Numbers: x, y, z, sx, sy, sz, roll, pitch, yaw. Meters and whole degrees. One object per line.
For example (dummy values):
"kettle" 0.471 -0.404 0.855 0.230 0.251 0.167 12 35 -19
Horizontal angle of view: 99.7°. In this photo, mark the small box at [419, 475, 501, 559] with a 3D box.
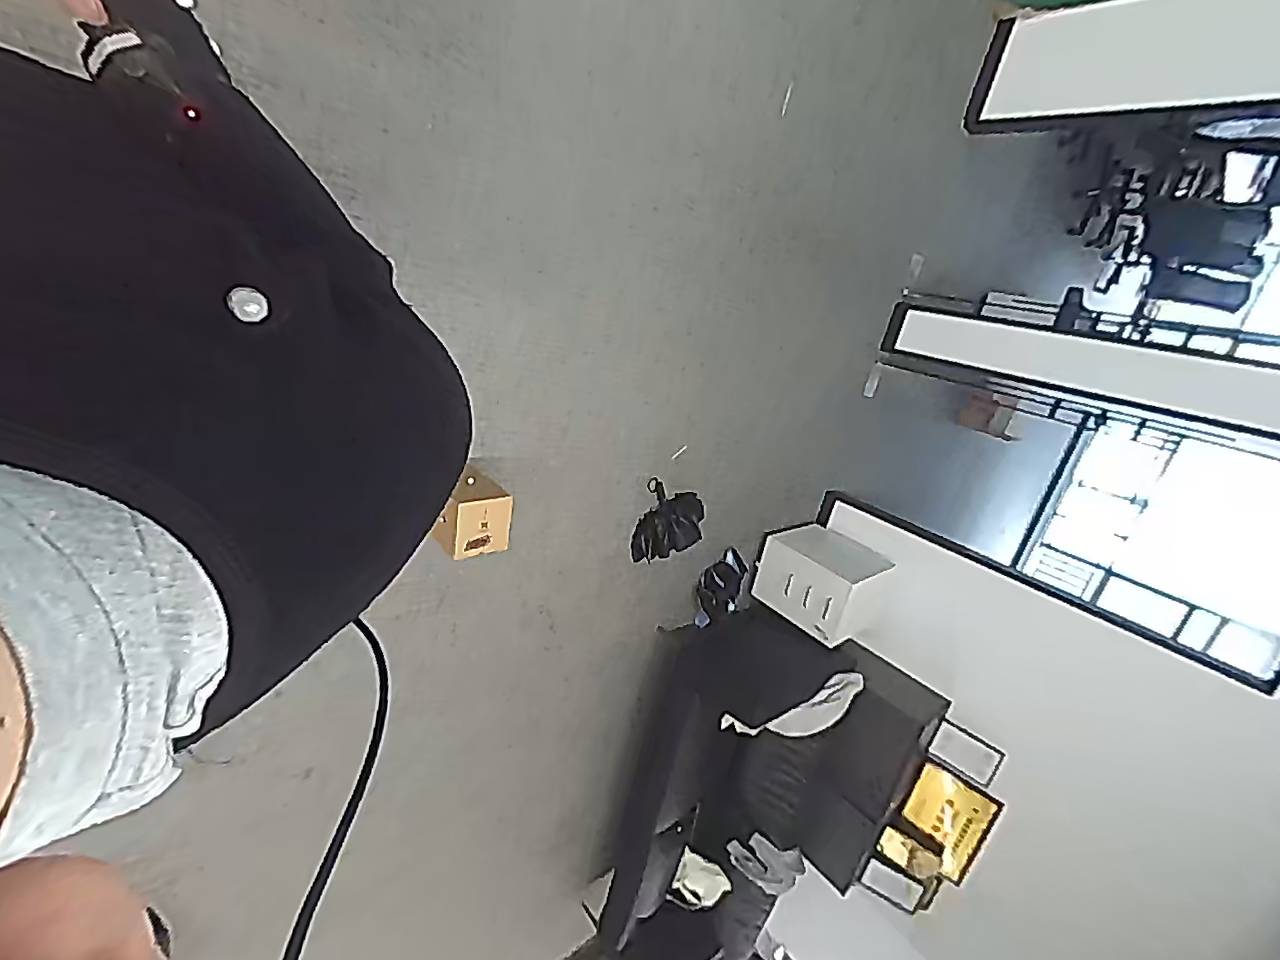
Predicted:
"small box" -0.524 0.100 1.561 0.168 0.176 0.179 -8 118 -43
